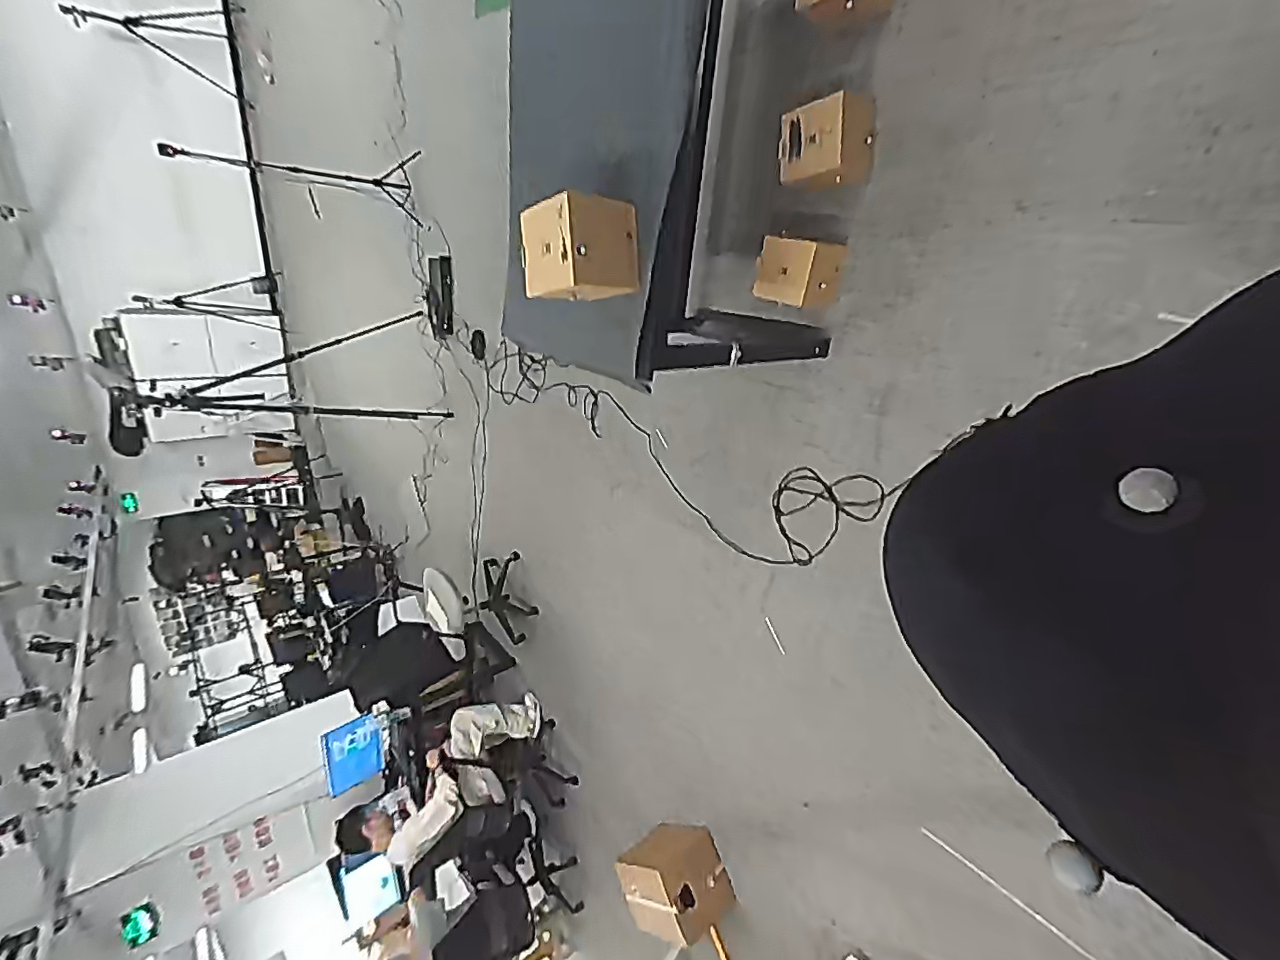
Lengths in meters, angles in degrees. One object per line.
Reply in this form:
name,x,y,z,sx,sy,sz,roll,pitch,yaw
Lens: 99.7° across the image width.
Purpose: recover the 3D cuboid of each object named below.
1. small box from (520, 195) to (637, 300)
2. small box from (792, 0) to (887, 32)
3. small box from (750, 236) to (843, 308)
small box,-0.125,-0.464,1.110,0.179,0.176,0.168,11,109,48
small box,0.495,-1.225,1.299,0.179,0.176,0.168,22,116,45
small box,0.449,-0.593,1.546,0.179,0.176,0.168,32,125,41
